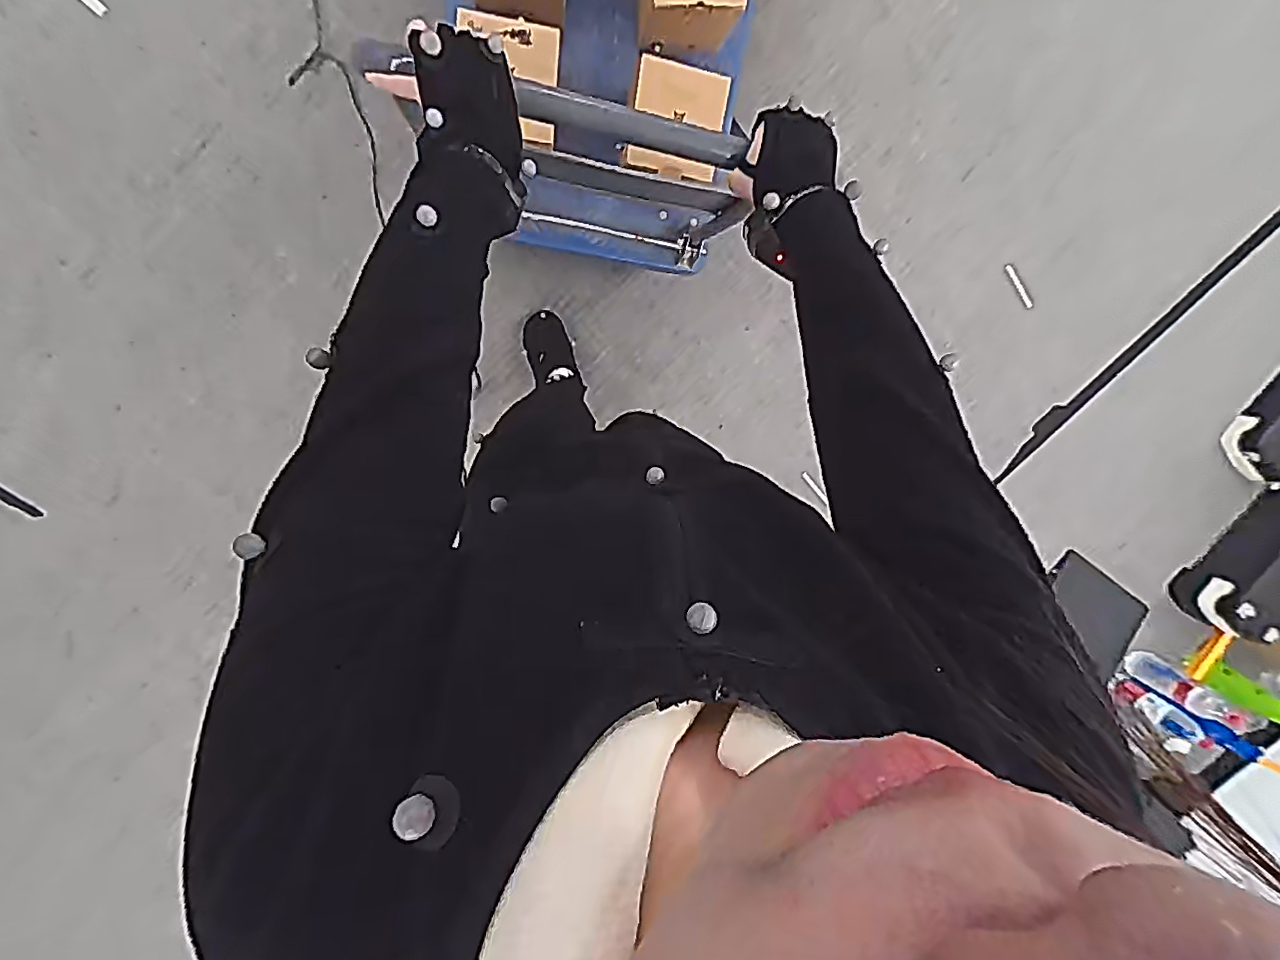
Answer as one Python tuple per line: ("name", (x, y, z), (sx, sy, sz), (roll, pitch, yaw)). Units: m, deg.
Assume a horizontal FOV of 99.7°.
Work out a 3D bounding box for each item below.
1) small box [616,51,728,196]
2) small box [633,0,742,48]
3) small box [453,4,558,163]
("small box", (0.051, -0.668, 1.042), (0.168, 0.176, 0.179), (7, 105, -12))
("small box", (0.081, -0.915, 0.970), (0.168, 0.176, 0.179), (-5, 107, -9))
("small box", (-0.239, -0.698, 0.977), (0.168, 0.176, 0.179), (3, 106, -12))
